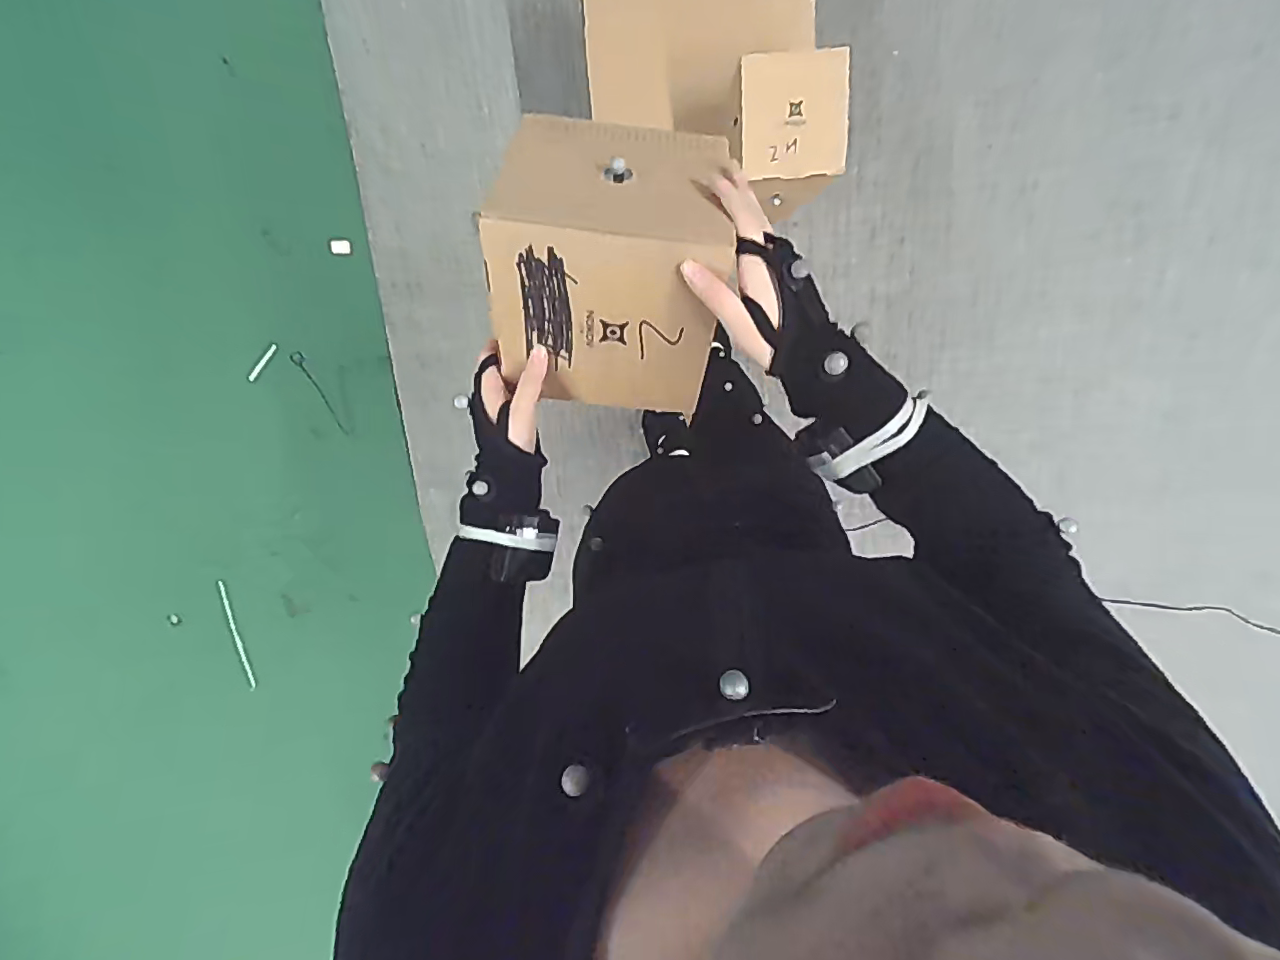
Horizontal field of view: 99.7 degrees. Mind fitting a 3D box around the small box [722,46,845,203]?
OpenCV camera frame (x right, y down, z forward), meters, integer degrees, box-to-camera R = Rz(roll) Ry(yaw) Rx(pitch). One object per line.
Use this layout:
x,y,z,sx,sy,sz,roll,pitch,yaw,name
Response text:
0.233,-0.587,0.913,0.168,0.176,0.179,-3,105,1,small box
